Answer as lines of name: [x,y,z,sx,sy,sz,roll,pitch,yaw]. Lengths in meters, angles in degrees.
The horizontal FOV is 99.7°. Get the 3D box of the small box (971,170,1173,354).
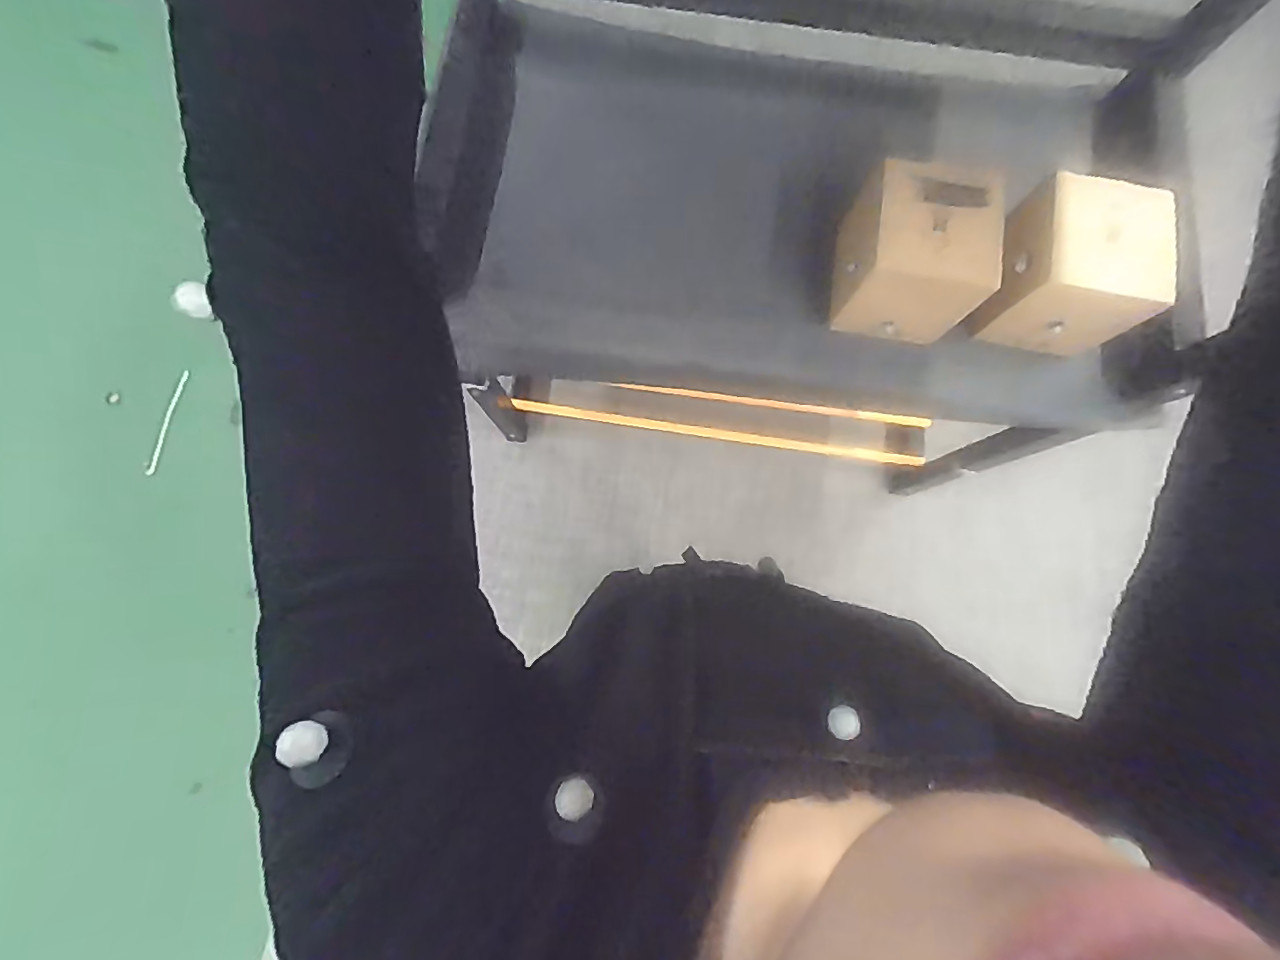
small box: [0.619,-0.308,0.794,0.168,0.176,0.179,12,77,1]
